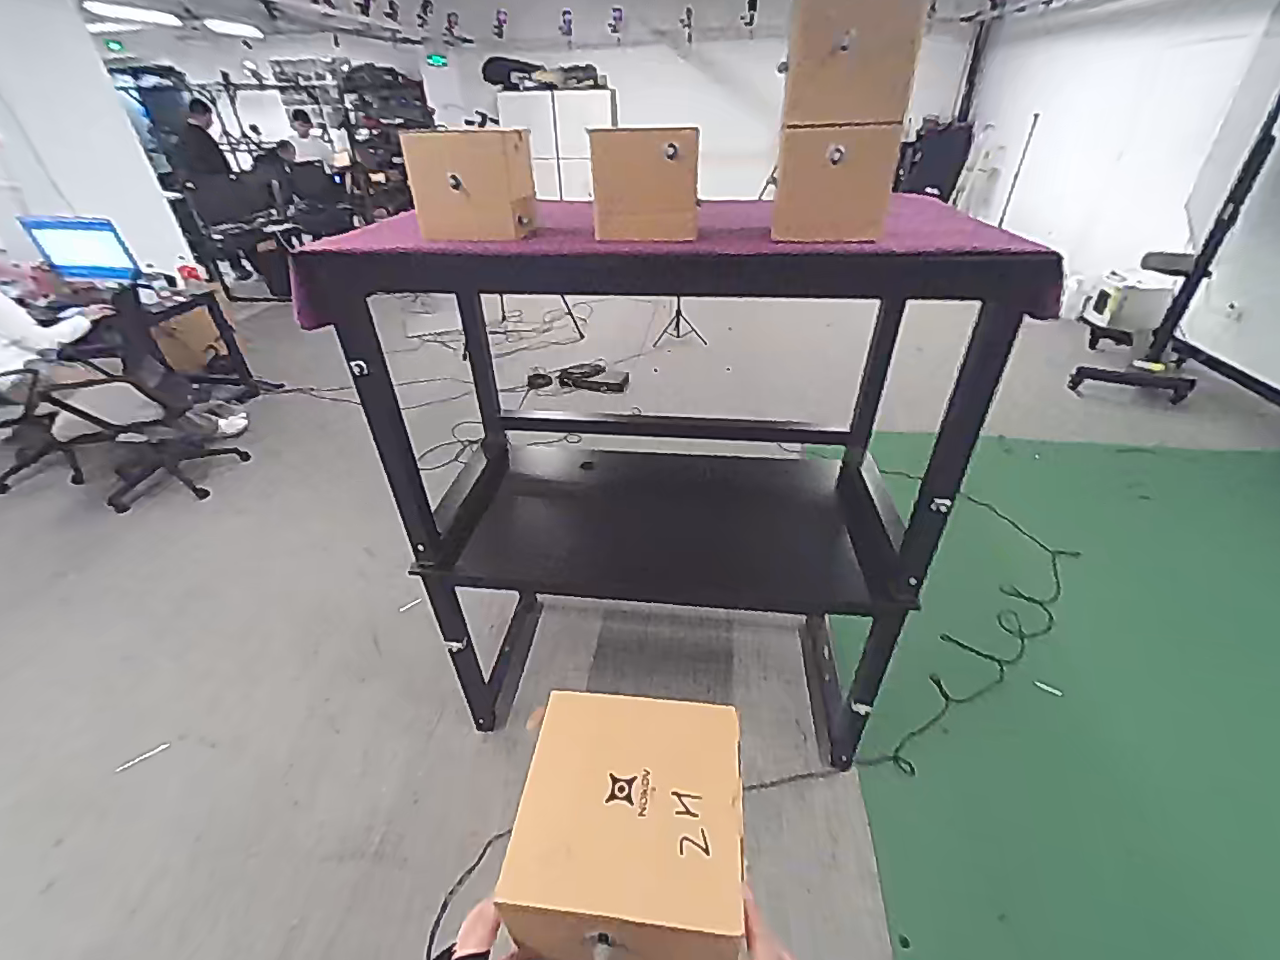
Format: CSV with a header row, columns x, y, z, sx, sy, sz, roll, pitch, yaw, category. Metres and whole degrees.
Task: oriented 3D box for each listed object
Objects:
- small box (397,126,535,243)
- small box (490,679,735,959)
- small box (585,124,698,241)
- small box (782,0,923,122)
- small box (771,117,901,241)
x,y,z,sx,sy,sz,roll,pitch,yaw,category
-0.298,-0.534,0.975,0.179,0.176,0.168,1,34,5,small box
-0.008,0.303,0.481,0.179,0.176,0.168,3,38,7,small box
0.010,-0.523,0.951,0.179,0.176,0.168,3,34,6,small box
0.310,-0.640,0.818,0.179,0.176,0.168,3,35,10,small box
0.314,-0.505,0.909,0.179,0.176,0.168,5,35,10,small box
